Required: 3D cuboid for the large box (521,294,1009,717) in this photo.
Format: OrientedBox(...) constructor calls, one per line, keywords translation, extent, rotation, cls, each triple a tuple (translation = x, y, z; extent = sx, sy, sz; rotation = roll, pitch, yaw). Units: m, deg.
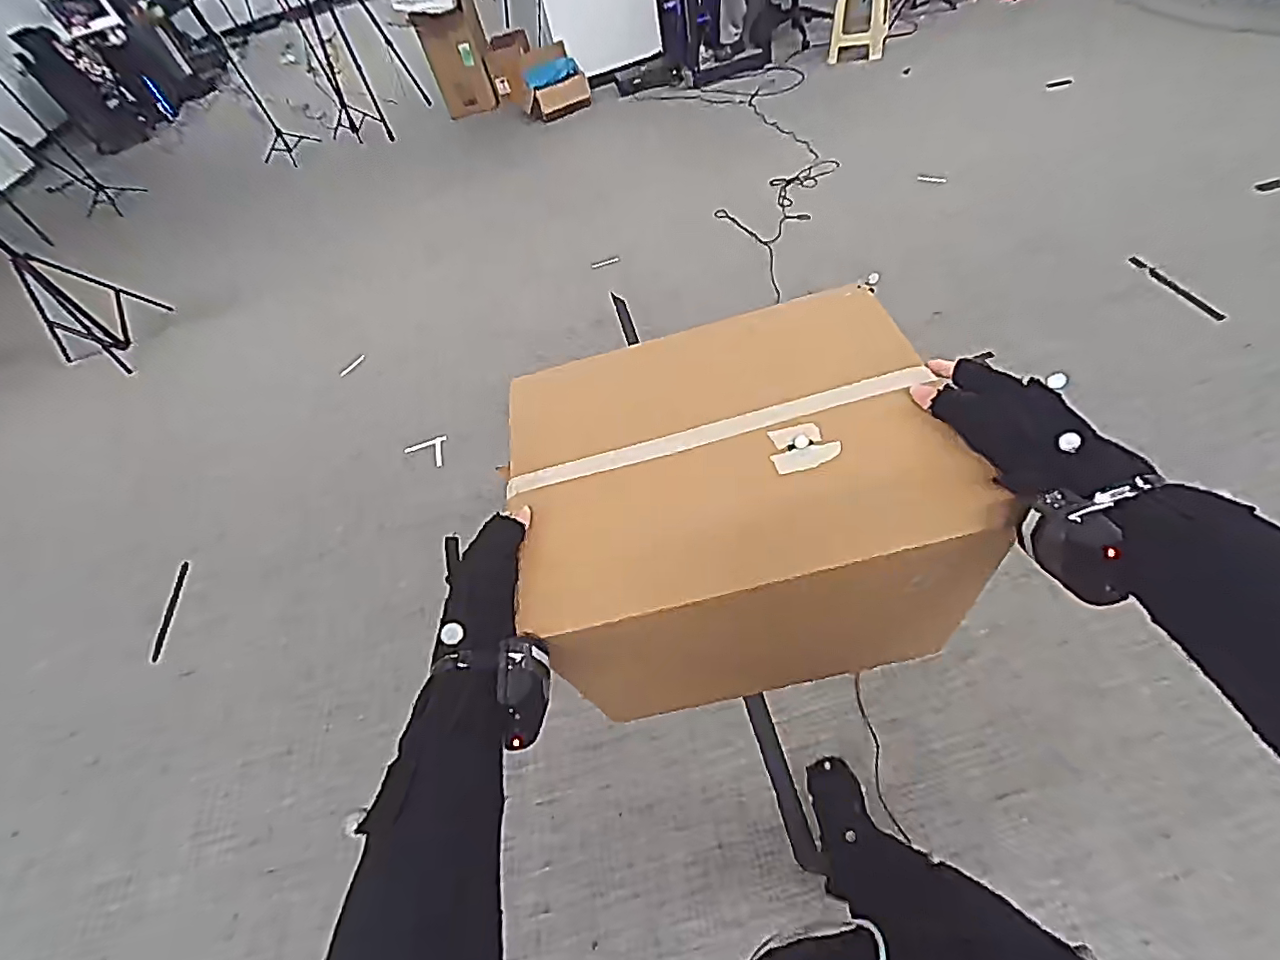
OrientedBox(translation=(0.106, 0.046, 0.642), extent=(0.408, 0.320, 0.320), rotation=(-15, 53, 4), cls="large box")
